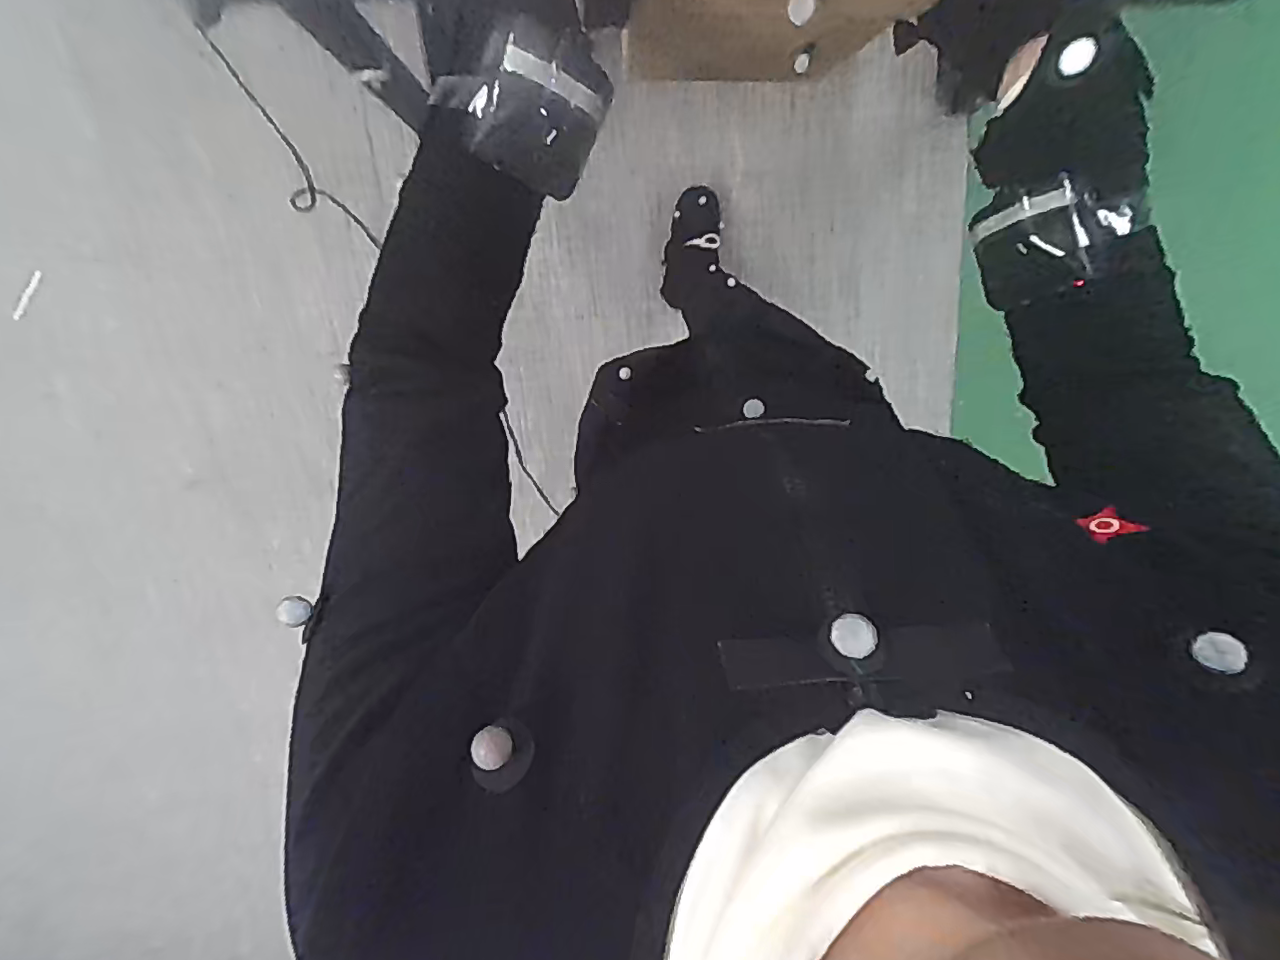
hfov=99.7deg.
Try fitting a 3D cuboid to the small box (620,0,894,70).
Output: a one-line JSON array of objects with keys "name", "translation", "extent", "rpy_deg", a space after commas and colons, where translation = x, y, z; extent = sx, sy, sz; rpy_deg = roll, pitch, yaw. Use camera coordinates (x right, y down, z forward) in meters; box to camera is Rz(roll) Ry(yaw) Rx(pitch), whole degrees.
[{"name": "small box", "translation": [0.075, -0.403, 0.366], "extent": [0.179, 0.176, 0.168], "rpy_deg": [-2, 112, -2]}]
